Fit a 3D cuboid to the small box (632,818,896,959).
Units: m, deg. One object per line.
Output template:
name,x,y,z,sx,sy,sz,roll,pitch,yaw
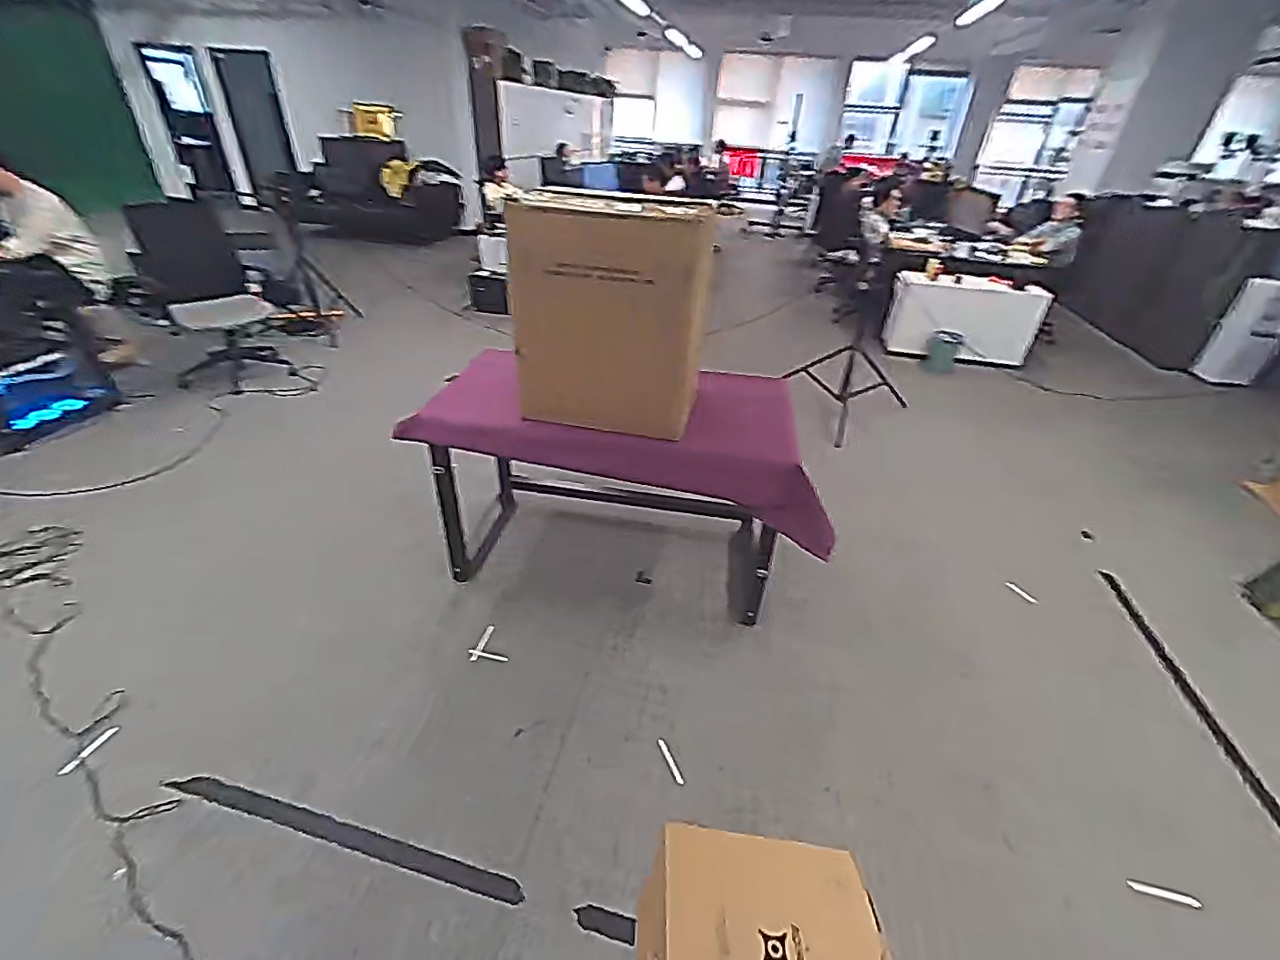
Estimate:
small box,0.091,0.411,0.428,0.179,0.176,0.168,9,24,-3
